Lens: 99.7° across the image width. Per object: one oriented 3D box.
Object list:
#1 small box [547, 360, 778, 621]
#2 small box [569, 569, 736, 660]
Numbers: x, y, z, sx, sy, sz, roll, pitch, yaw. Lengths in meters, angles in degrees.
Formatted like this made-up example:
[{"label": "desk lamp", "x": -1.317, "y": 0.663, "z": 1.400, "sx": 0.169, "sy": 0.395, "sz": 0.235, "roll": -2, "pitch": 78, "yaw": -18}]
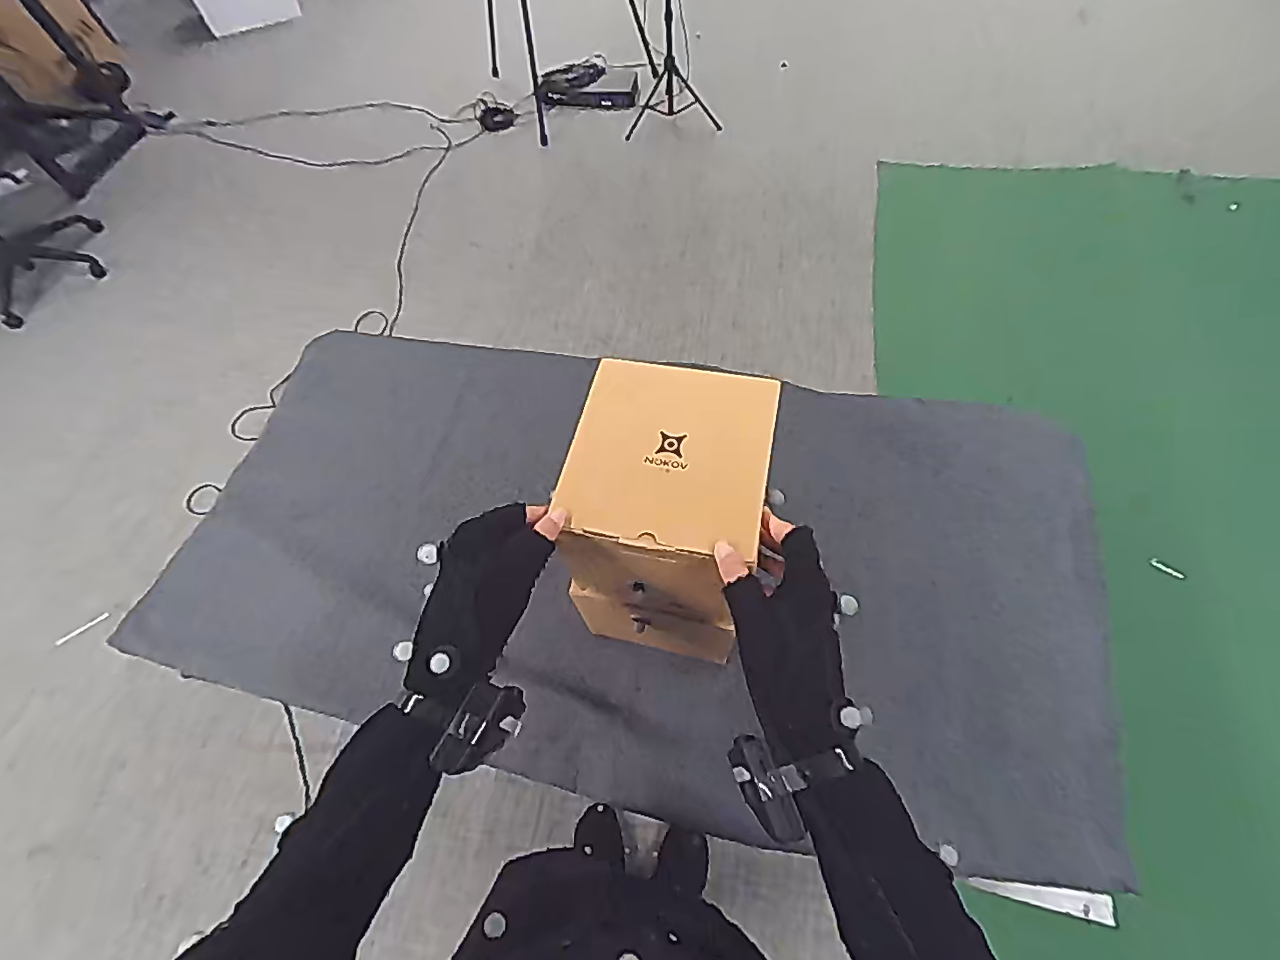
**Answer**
[{"label": "small box", "x": 0.028, "y": 0.016, "z": 0.518, "sx": 0.168, "sy": 0.176, "sz": 0.179, "roll": 10, "pitch": 62, "yaw": 10}, {"label": "small box", "x": 0.034, "y": 0.105, "z": 0.654, "sx": 0.179, "sy": 0.176, "sz": 0.168, "roll": 11, "pitch": 62, "yaw": 10}]
